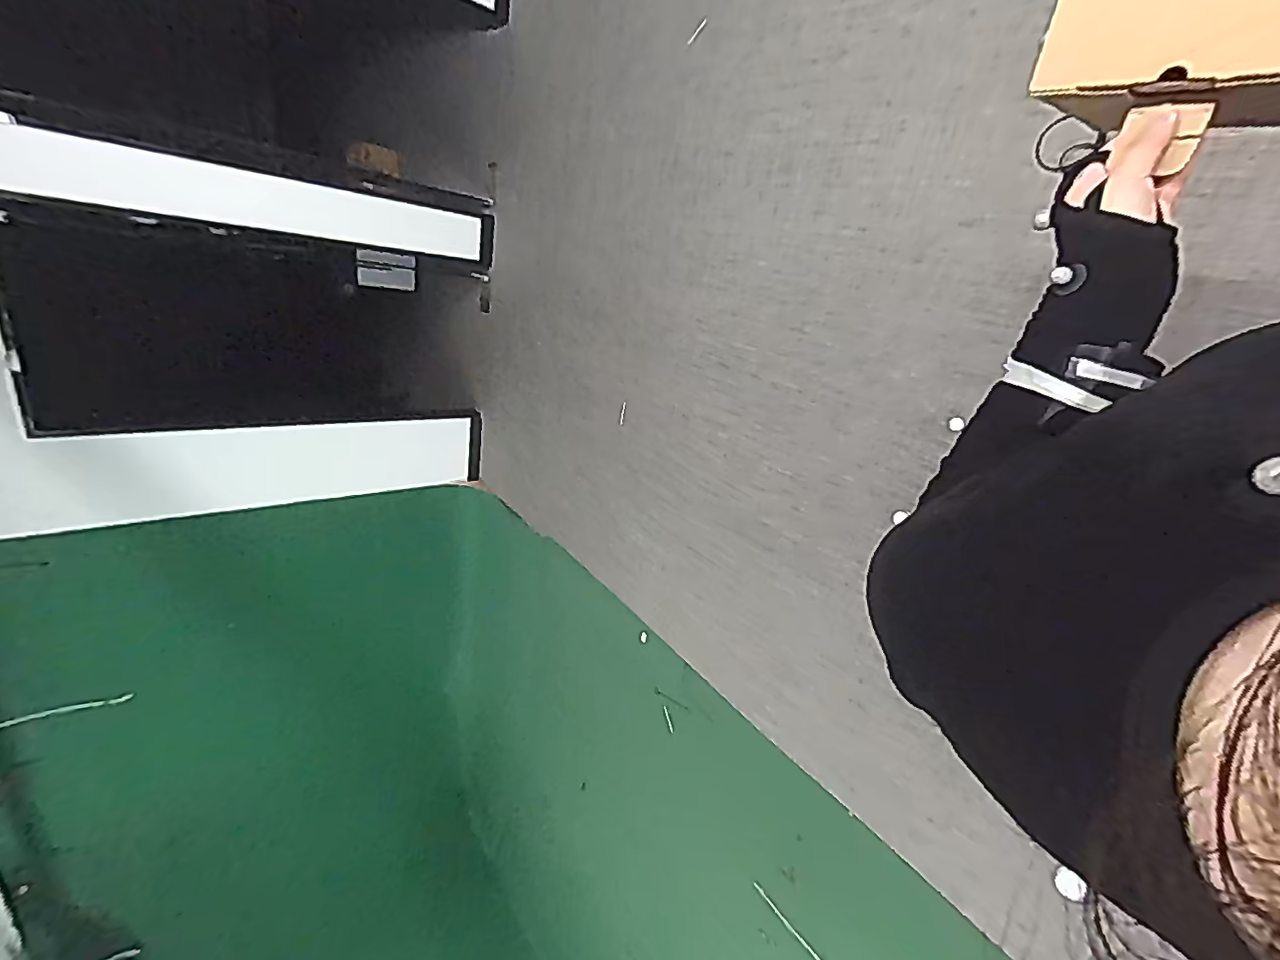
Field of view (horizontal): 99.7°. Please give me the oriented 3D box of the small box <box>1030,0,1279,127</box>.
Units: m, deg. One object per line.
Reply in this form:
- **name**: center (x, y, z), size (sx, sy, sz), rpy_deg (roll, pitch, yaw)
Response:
- **small box**: center (0.409, -0.351, 0.358), size (0.168, 0.176, 0.179), rpy_deg (33, 129, 42)
